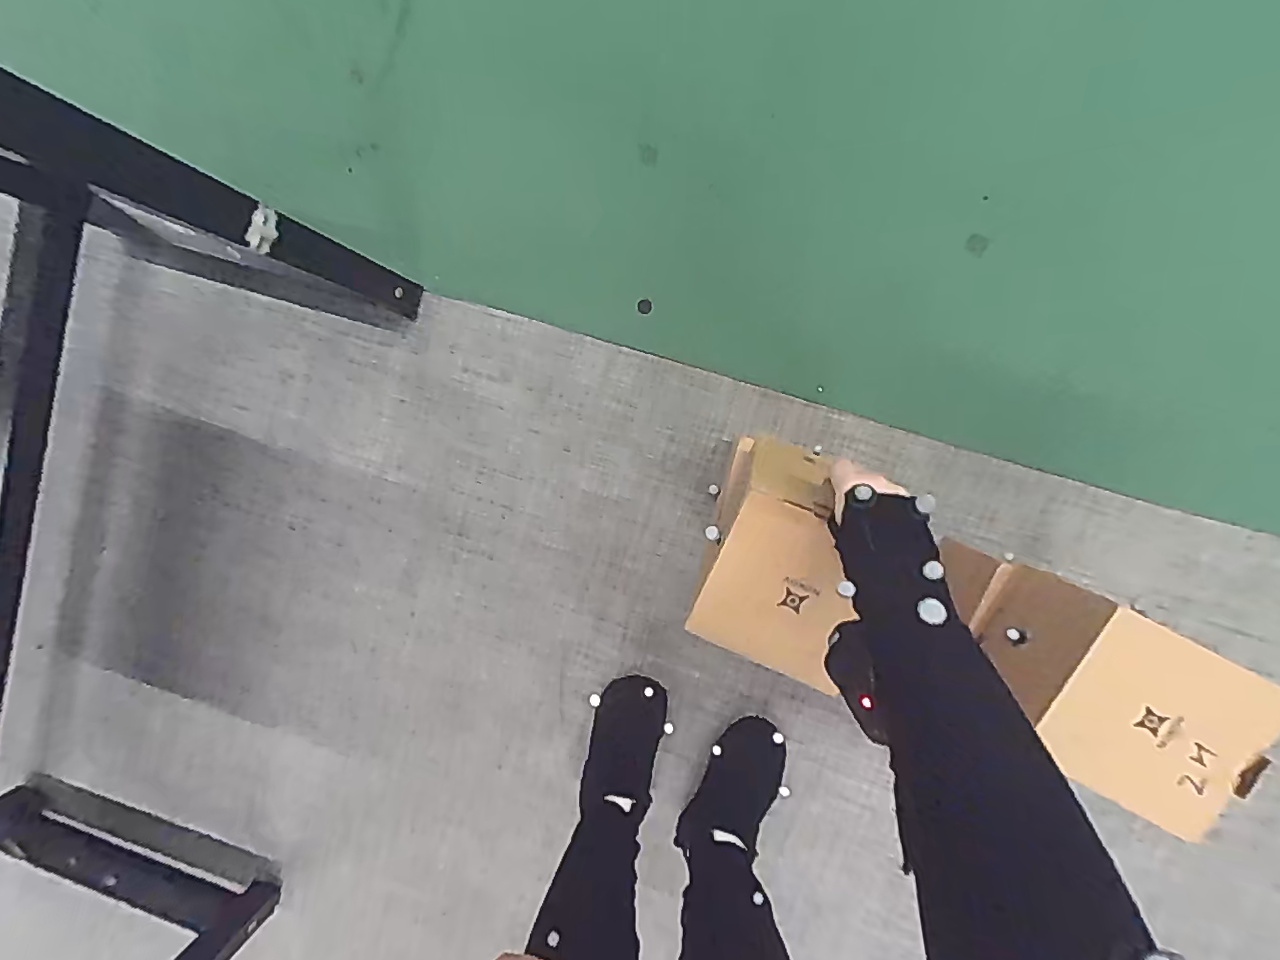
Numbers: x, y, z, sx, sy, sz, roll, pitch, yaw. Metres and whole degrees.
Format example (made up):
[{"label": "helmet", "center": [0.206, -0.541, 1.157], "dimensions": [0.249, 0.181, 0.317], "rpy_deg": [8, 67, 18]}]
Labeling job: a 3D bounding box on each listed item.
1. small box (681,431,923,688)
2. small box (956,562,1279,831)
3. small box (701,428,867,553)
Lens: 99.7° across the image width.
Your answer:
[{"label": "small box", "center": [0.162, 0.072, 0.573], "dimensions": [0.168, 0.176, 0.179], "rpy_deg": [23, 115, 6]}, {"label": "small box", "center": [0.476, 0.201, 0.563], "dimensions": [0.179, 0.176, 0.168], "rpy_deg": [28, 99, 4]}, {"label": "small box", "center": [0.190, 0.032, 0.753], "dimensions": [0.168, 0.176, 0.179], "rpy_deg": [15, 96, 6]}]
